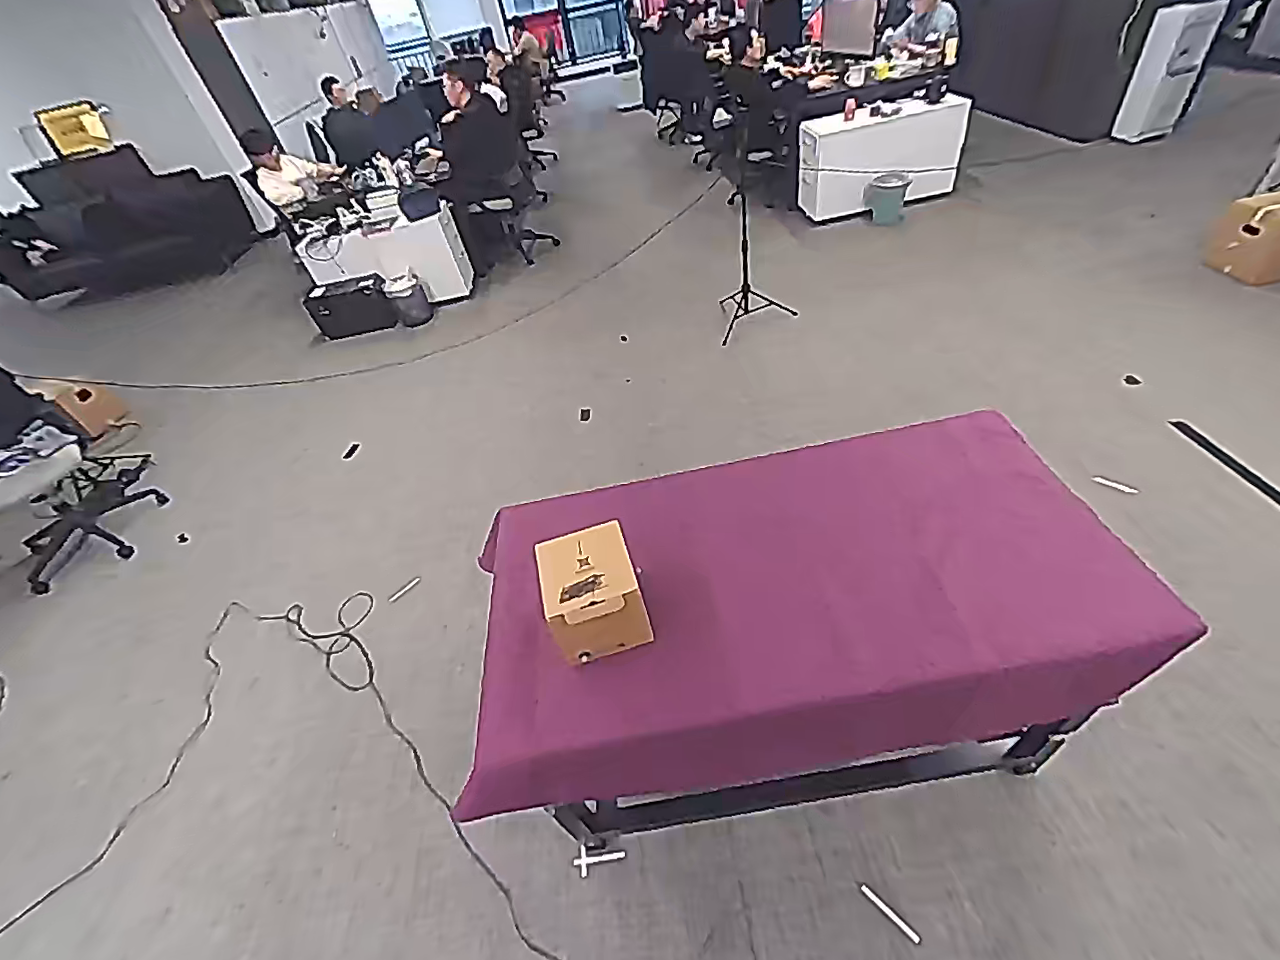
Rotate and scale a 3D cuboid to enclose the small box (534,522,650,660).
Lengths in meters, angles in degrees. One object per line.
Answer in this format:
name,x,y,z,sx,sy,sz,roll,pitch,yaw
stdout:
small box,-0.088,0.215,1.018,0.168,0.176,0.179,-17,43,-4
